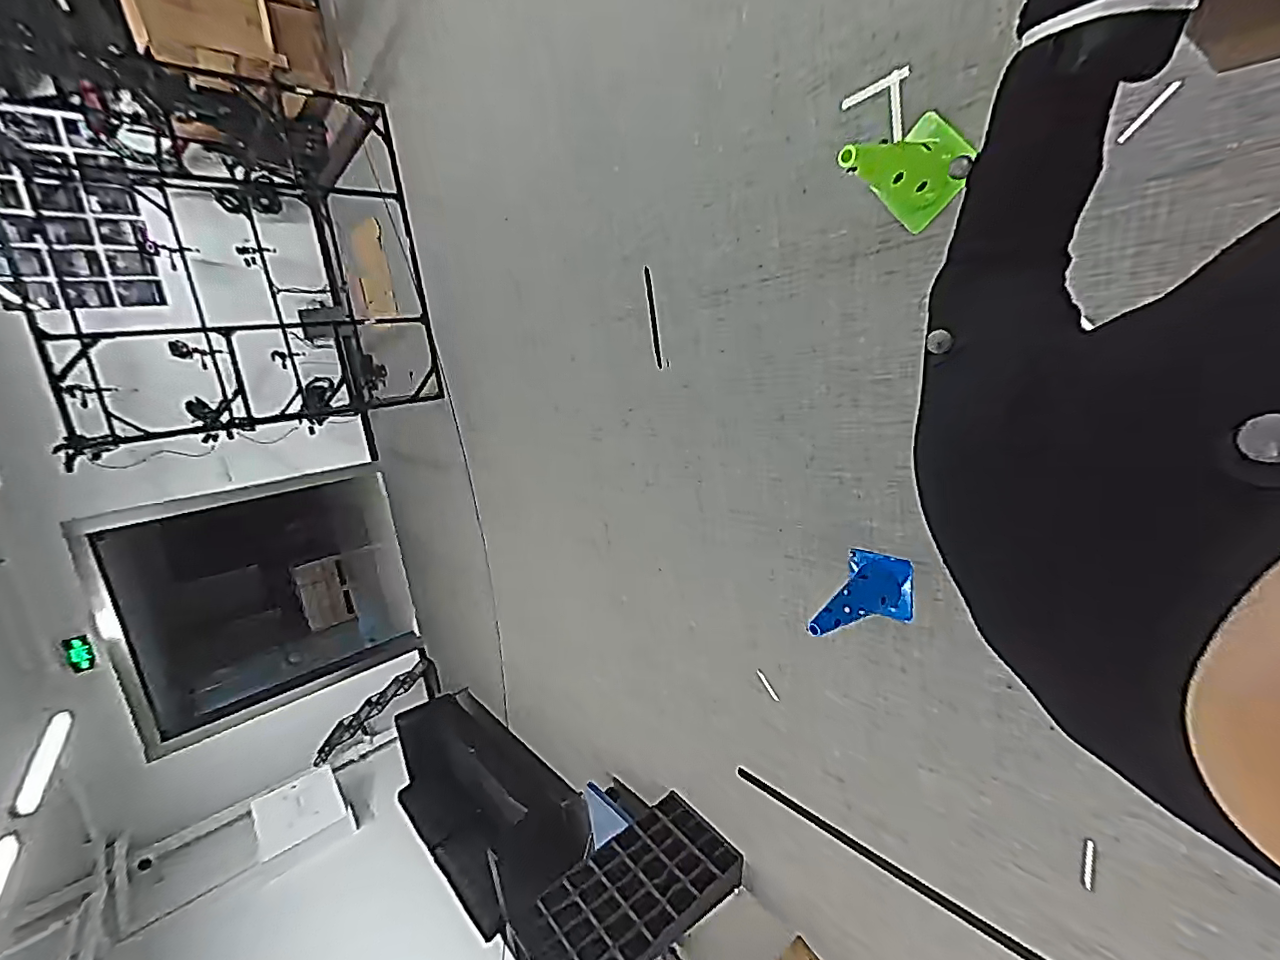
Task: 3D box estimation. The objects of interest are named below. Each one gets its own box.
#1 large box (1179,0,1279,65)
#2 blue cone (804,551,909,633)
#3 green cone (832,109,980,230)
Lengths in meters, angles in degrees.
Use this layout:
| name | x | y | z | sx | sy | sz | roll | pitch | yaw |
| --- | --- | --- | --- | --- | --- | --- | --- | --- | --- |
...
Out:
| name | x | y | z | sx | sy | sz | roll | pitch | yaw |
| --- | --- | --- | --- | --- | --- | --- | --- | --- | --- |
| large box | 0.536 | -0.455 | 0.227 | 0.408 | 0.320 | 0.320 | 13 | 119 | 47 |
| blue cone | 0.613 | 0.360 | 1.578 | 0.192 | 0.380 | 0.193 | 13 | 113 | 50 |
| green cone | 0.552 | -0.709 | 1.212 | 0.200 | 0.368 | 0.202 | 60 | 142 | 18 |
